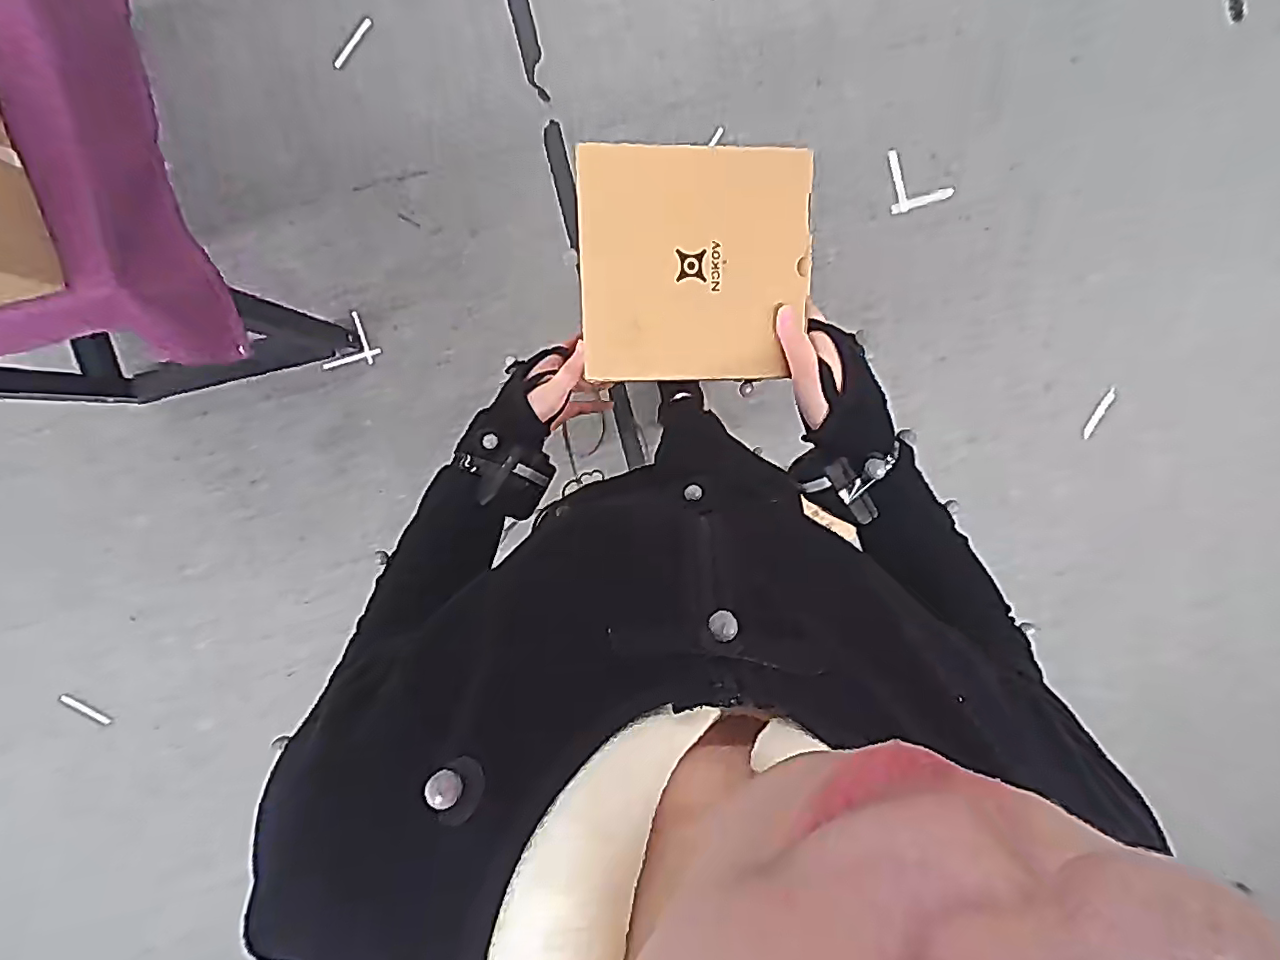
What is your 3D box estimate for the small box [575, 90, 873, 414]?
[{"bbox_3d":[0.058,-0.165,0.442,0.168,0.176,0.179,-7,83,-24],"label":"small box"}]
